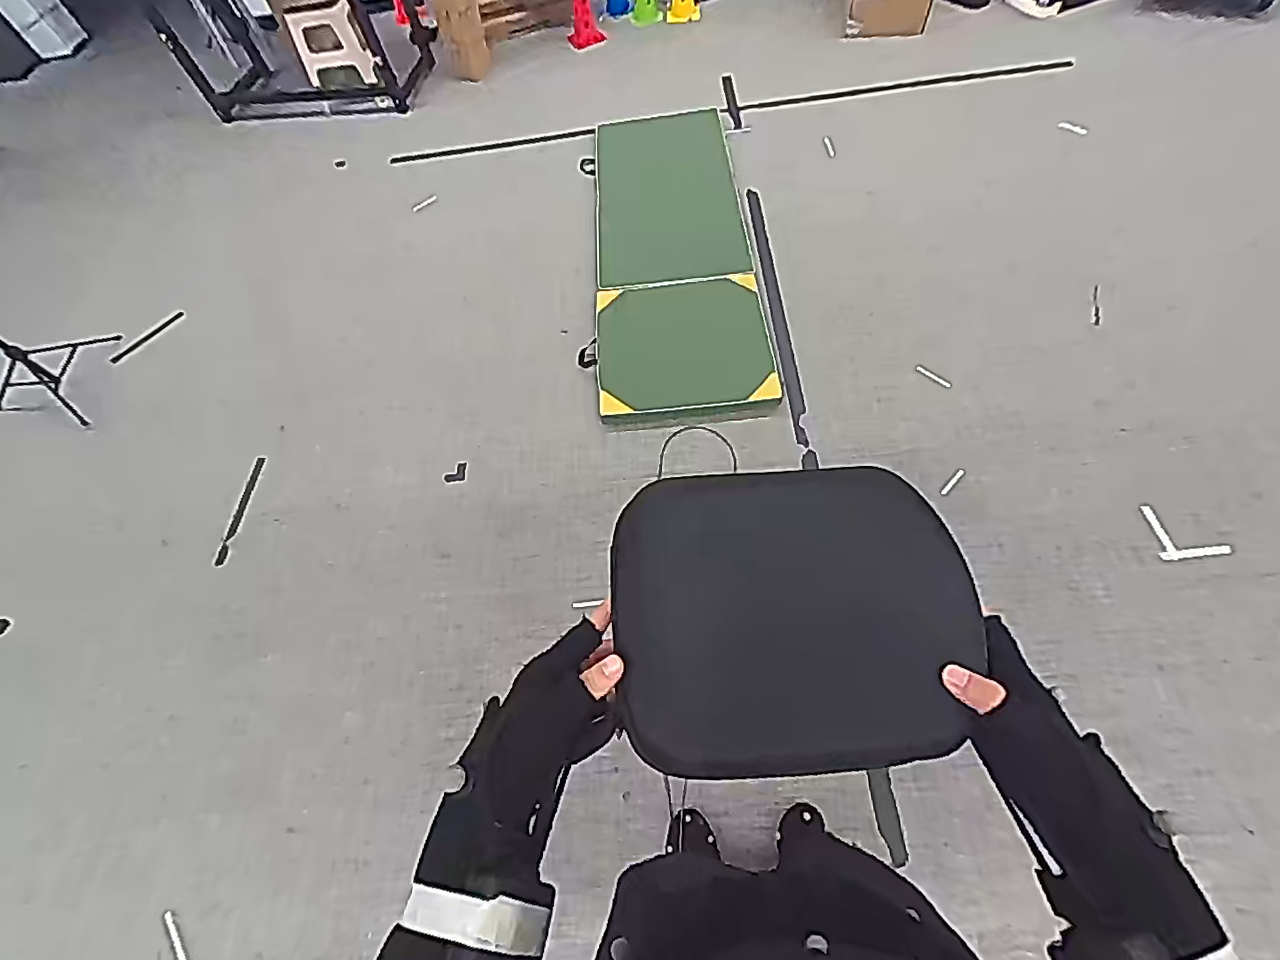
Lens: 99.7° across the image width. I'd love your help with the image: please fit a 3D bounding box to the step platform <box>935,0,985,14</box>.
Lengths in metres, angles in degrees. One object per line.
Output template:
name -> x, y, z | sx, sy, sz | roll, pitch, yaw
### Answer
step platform -> 1.980, -2.811, 2.956 | 0.684, 0.204, 0.286 | -31, 62, -10
